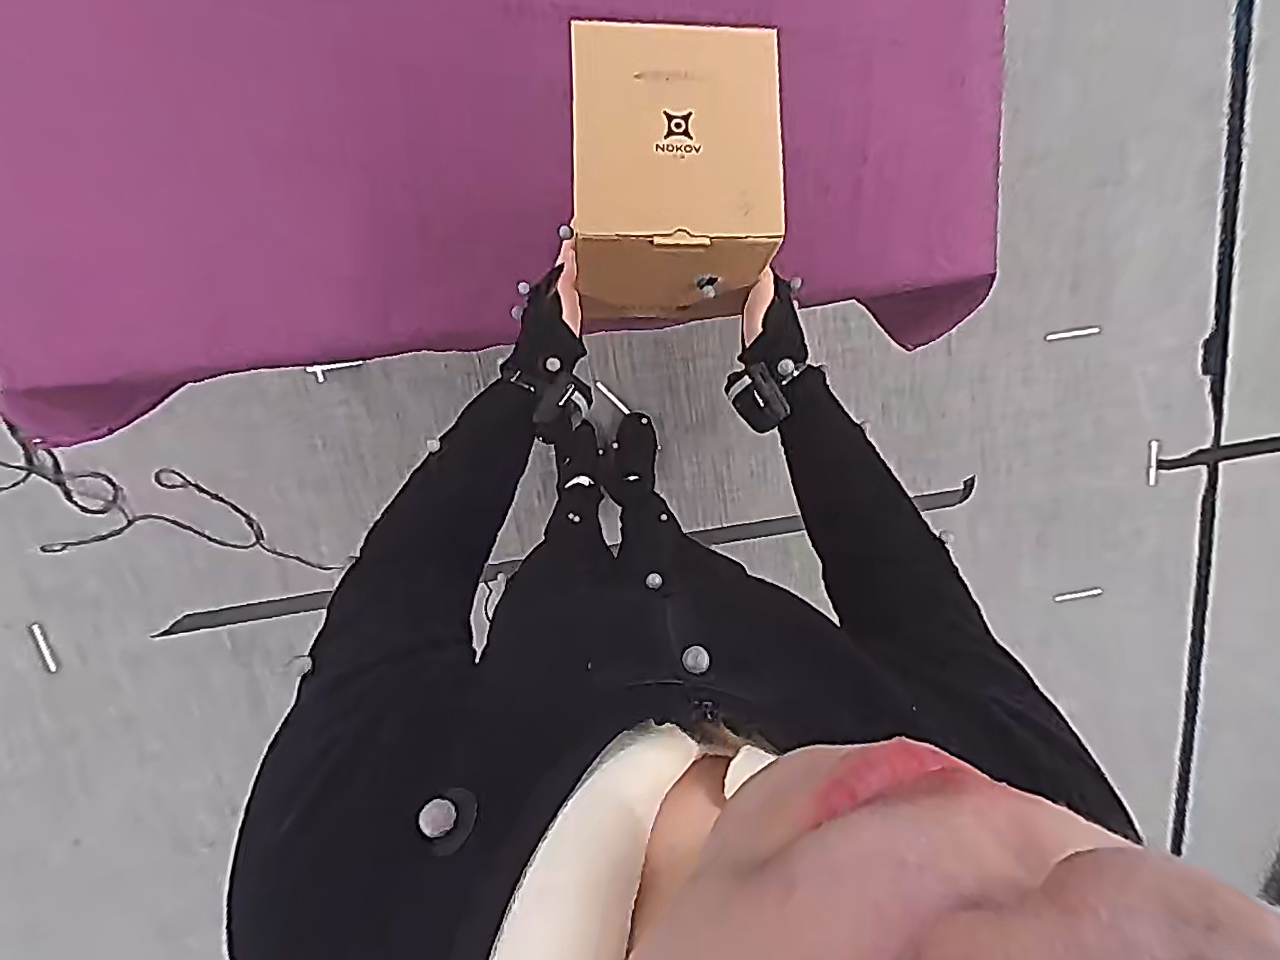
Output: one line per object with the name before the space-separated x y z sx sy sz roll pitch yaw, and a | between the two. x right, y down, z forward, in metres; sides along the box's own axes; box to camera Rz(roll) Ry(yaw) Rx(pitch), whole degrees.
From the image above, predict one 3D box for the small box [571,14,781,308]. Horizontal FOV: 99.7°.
small box | 0.023 -0.270 0.499 0.168 0.176 0.179 -1 87 -5
